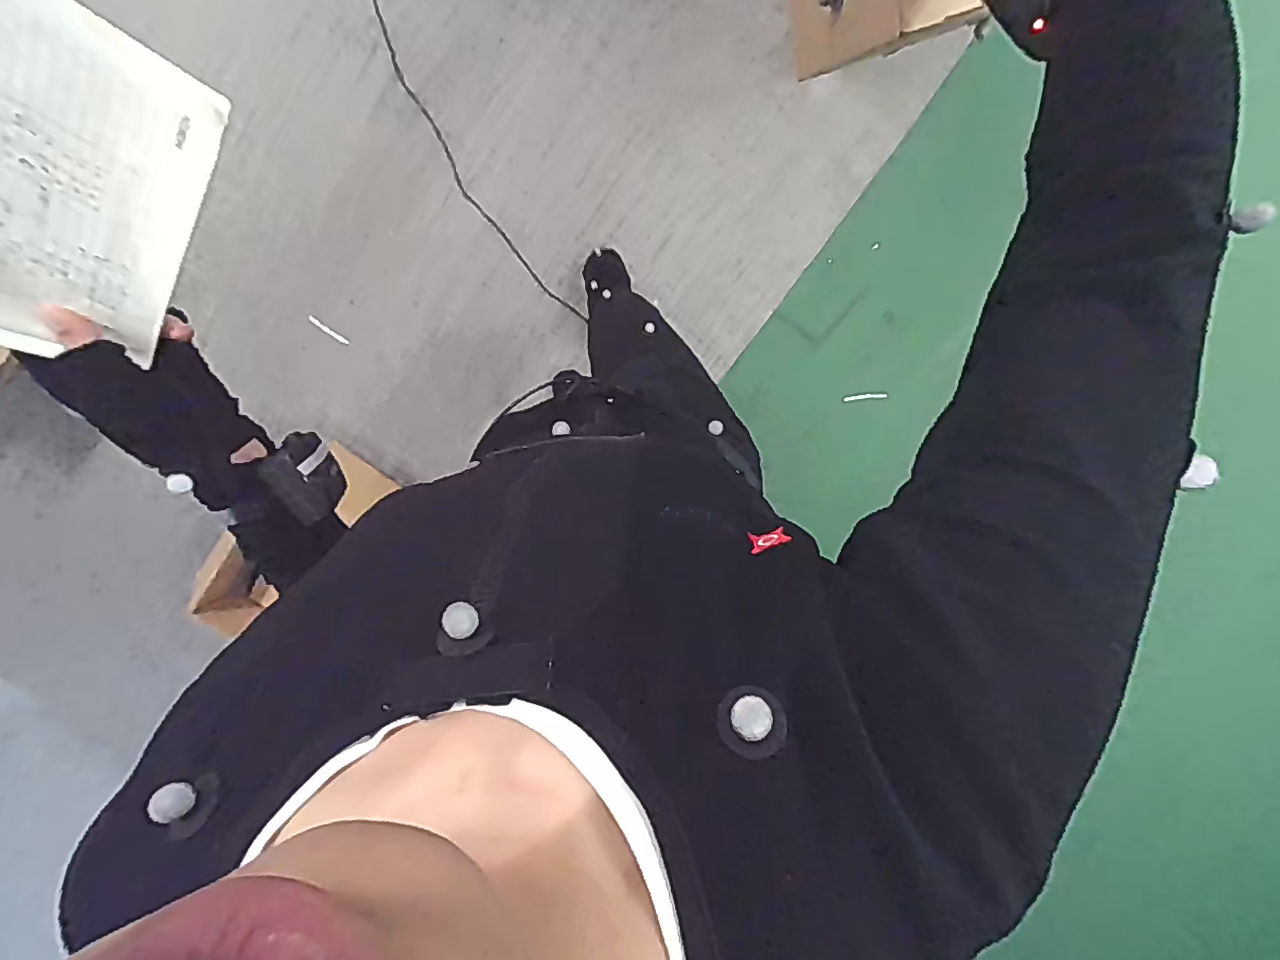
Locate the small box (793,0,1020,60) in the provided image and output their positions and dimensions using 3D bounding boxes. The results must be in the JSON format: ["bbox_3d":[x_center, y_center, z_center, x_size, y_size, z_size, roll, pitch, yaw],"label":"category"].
[{"bbox_3d":[0.215,-0.434,0.389,0.168,0.176,0.179,-18,119,-1],"label":"small box"}]
